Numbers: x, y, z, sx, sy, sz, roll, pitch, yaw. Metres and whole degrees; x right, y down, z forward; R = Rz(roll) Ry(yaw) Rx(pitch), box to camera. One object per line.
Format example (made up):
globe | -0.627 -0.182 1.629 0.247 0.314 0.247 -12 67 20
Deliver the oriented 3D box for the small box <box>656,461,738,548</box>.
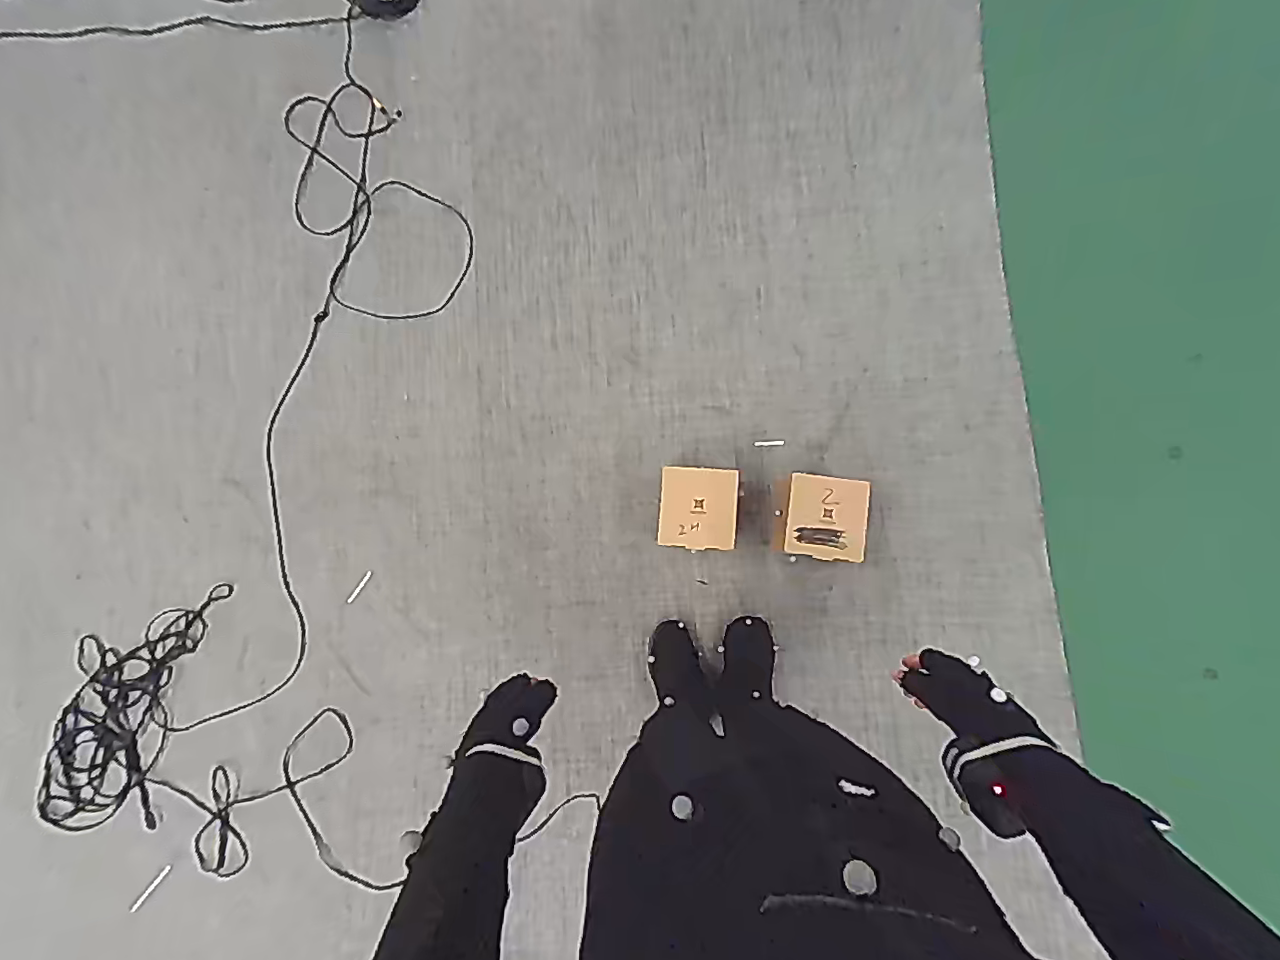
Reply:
small box | 0.130 0.060 1.246 0.168 0.176 0.179 5 85 6
